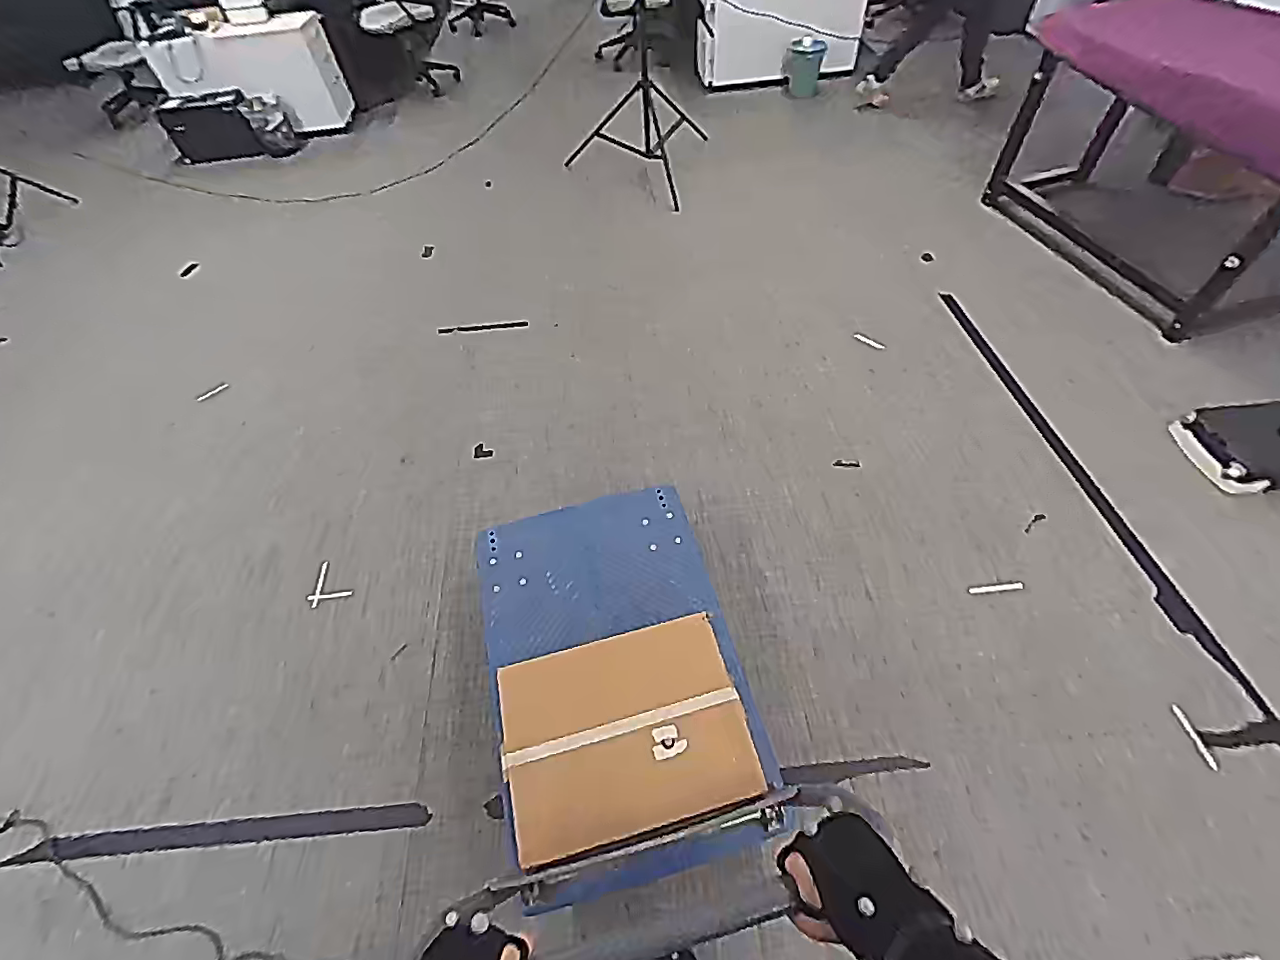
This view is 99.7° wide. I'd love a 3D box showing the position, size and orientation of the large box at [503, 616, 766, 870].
[{"bbox_3d":[-0.018,0.518,1.061,0.408,0.320,0.320,-14,57,-8],"label":"large box"}]
